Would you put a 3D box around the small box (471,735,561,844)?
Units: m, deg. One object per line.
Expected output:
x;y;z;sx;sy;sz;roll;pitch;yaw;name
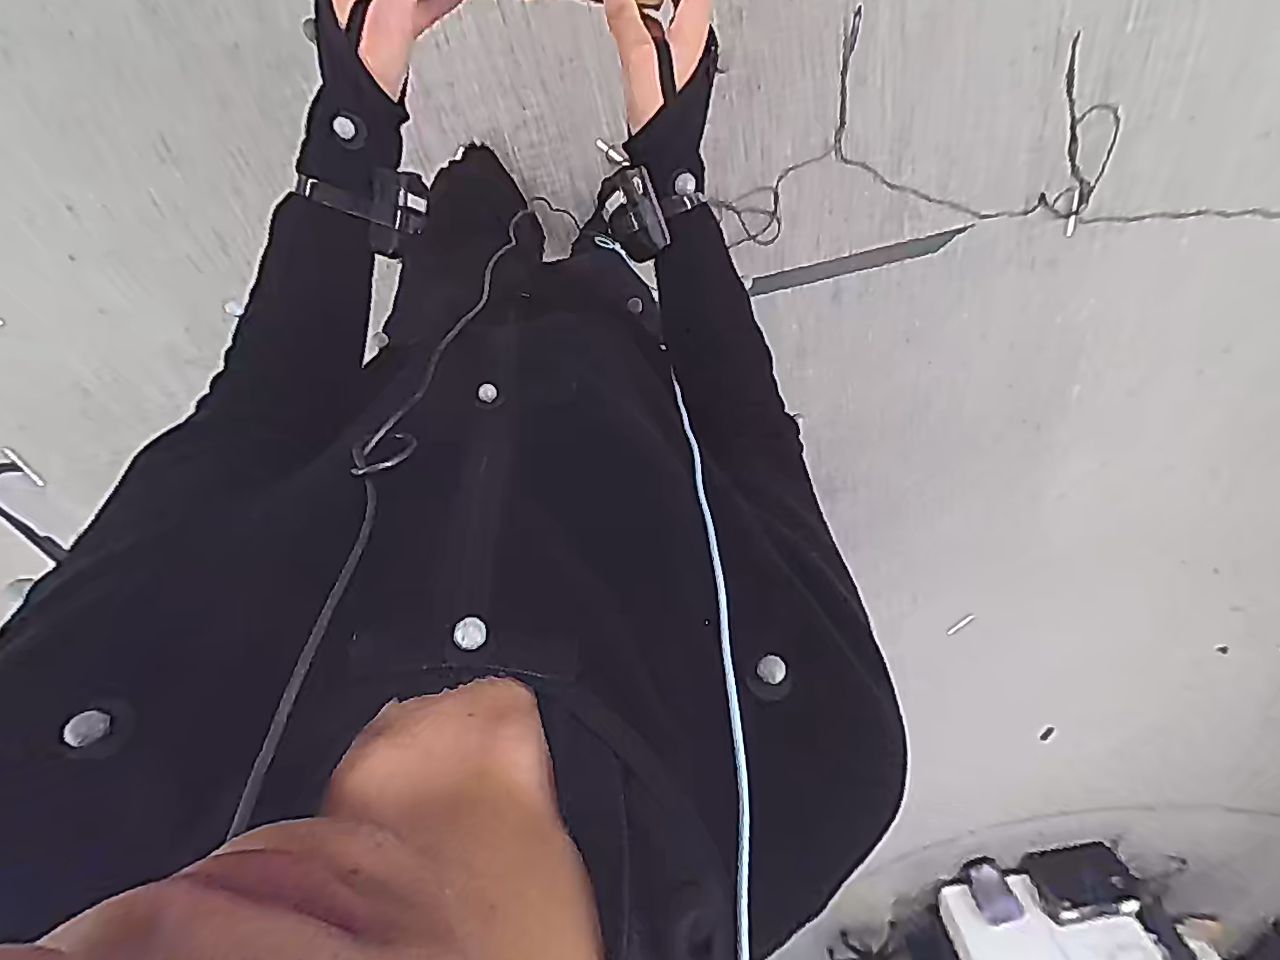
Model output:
-0.292;0.741;1.310;0.168;0.176;0.179;-11;124;2;small box
